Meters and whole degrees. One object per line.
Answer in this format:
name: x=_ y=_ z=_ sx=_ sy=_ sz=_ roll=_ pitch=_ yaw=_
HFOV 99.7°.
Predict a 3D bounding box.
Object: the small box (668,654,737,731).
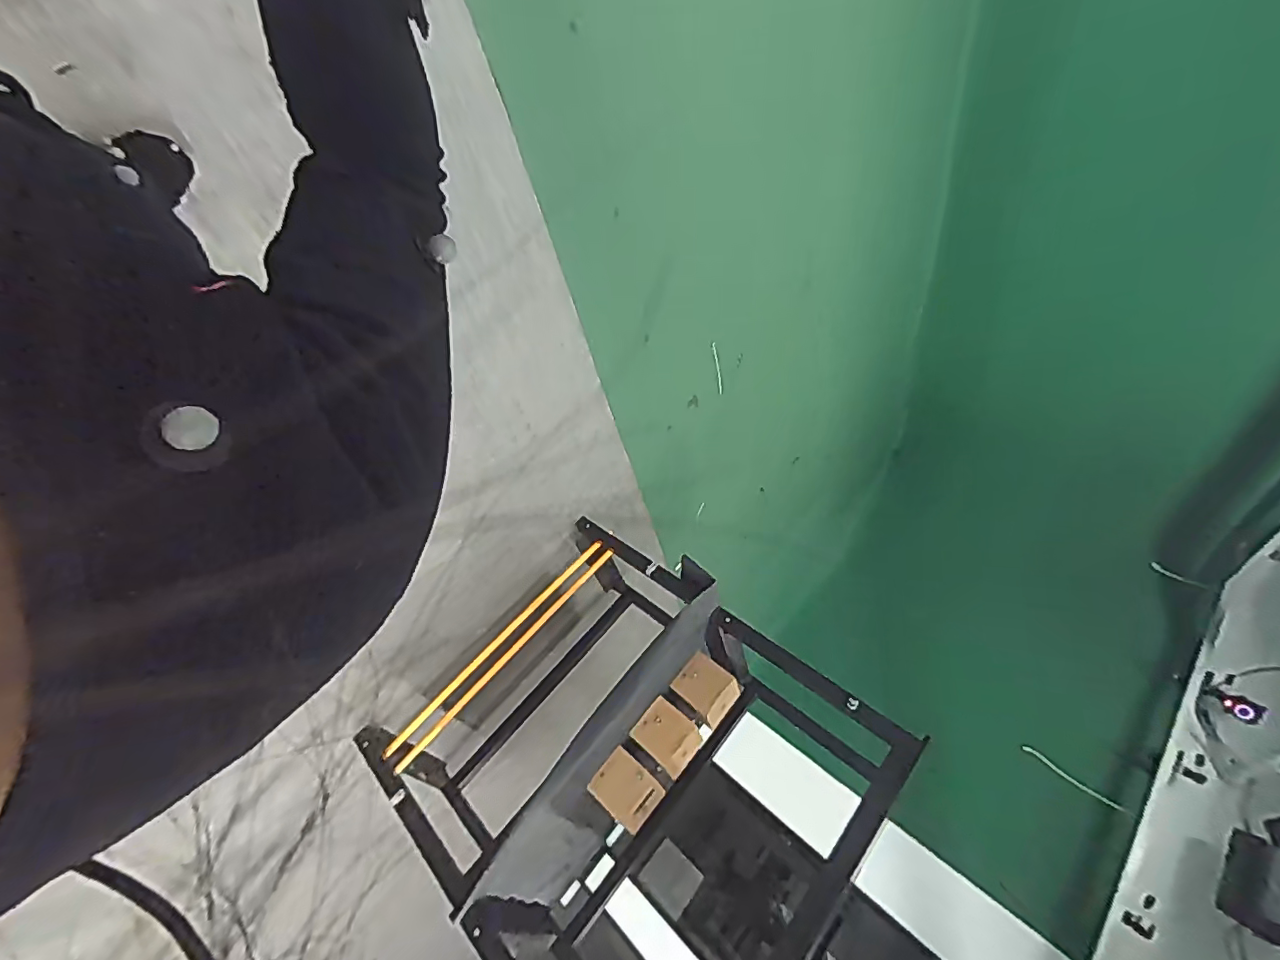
small box: x=0.225 y=0.757 z=1.941 sx=0.168 sy=0.176 sz=0.179 roll=-45 pitch=142 yaw=-22
